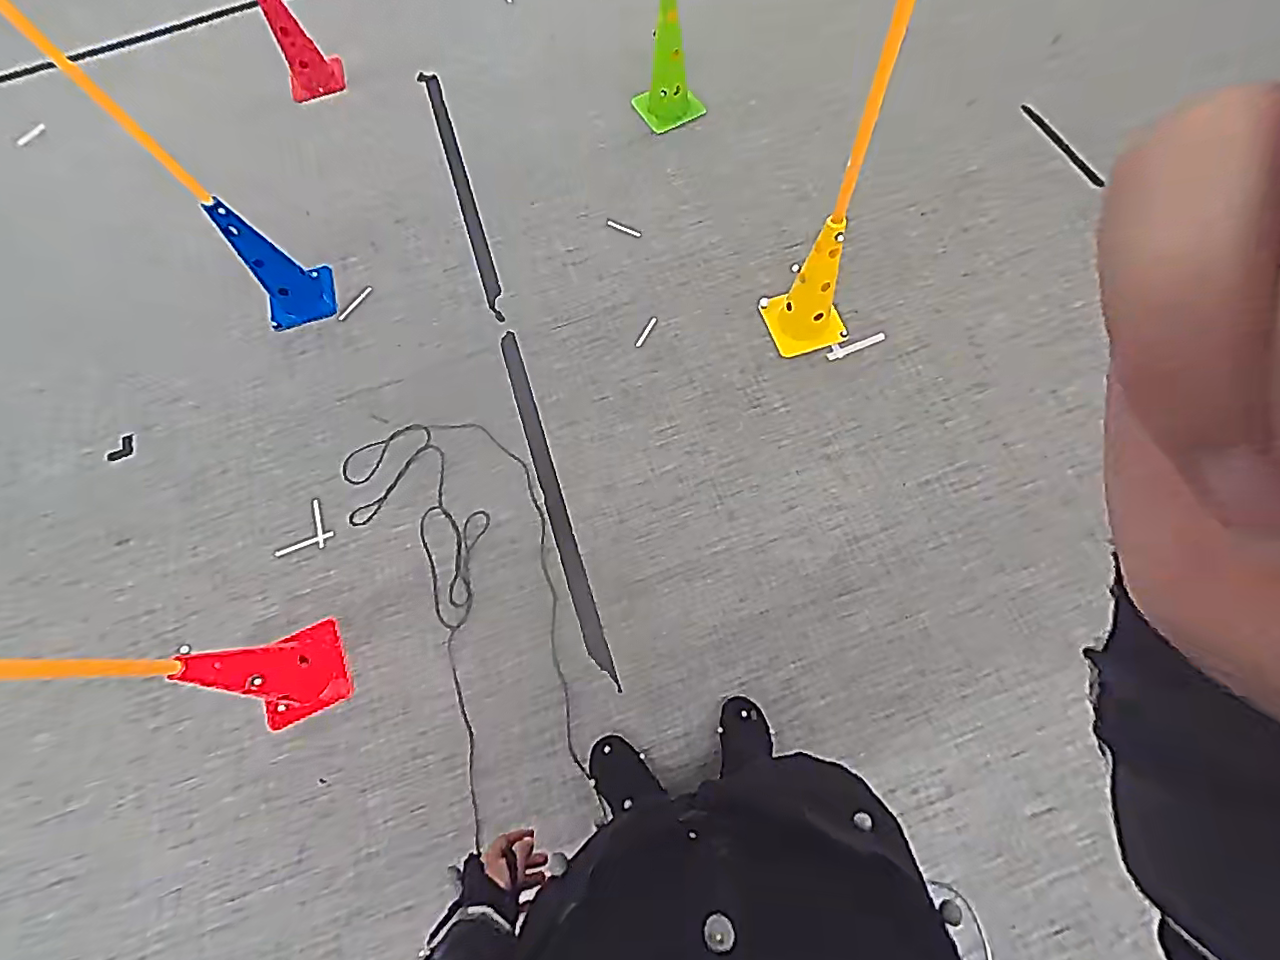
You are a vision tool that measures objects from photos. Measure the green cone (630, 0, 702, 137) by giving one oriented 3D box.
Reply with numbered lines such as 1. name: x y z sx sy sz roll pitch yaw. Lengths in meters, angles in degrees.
1. green cone: 0.079 -1.340 1.714 0.200 0.368 0.202 -29 71 -7

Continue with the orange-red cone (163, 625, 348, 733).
1. orange-red cone: -0.799 0.397 1.101 0.199 0.360 0.198 -24 69 -6

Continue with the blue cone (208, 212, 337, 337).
1. blue cone: -1.051 -0.599 1.523 0.193 0.380 0.192 -17 69 -2
